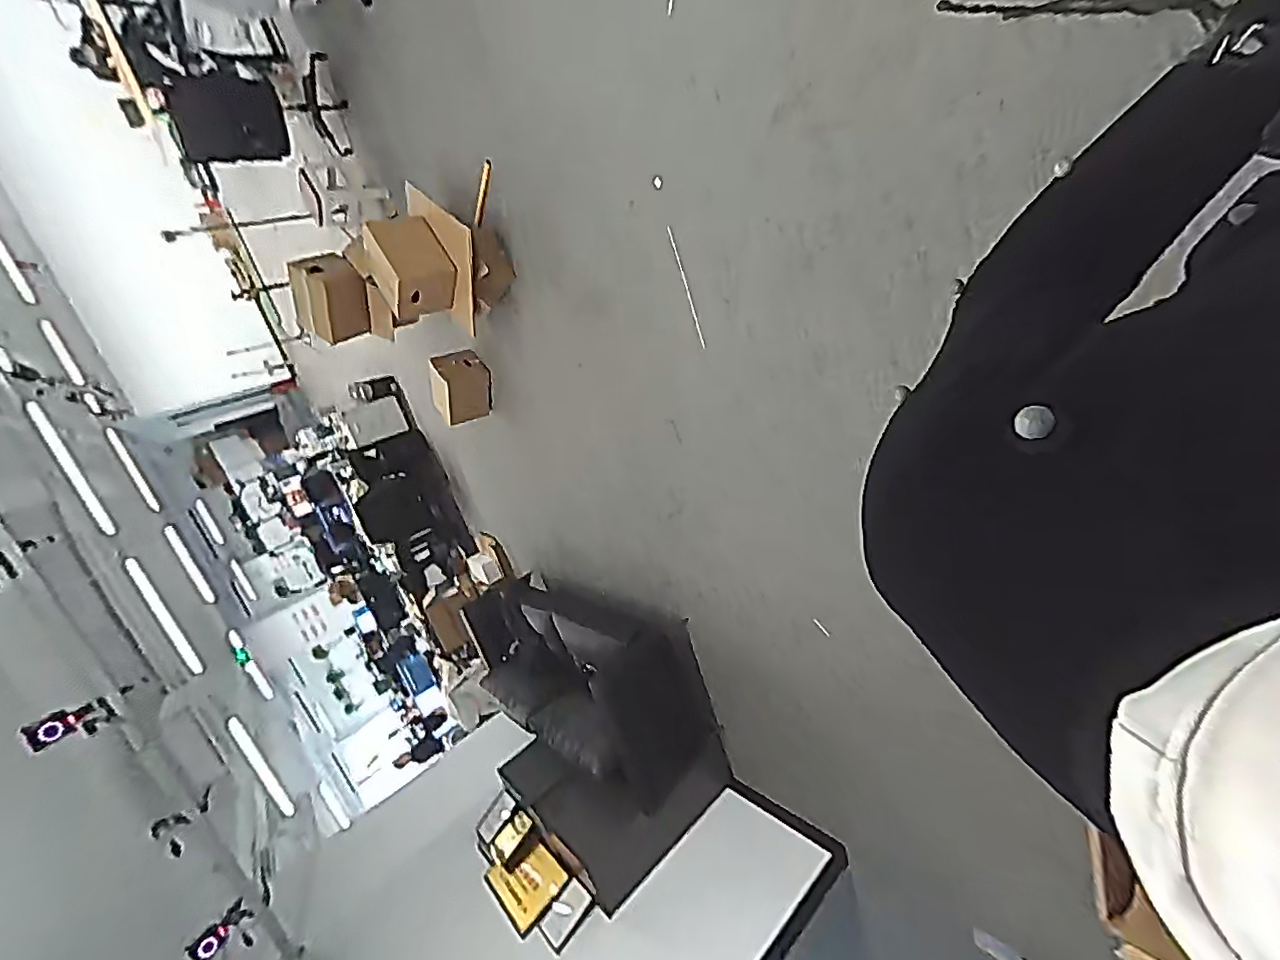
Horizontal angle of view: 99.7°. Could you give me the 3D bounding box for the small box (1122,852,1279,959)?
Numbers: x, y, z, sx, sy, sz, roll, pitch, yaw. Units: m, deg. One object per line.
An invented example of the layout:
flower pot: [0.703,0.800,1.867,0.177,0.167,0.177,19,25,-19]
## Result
small box: [0.810,0.678,0.755,0.179,0.176,0.168,2,116,52]
